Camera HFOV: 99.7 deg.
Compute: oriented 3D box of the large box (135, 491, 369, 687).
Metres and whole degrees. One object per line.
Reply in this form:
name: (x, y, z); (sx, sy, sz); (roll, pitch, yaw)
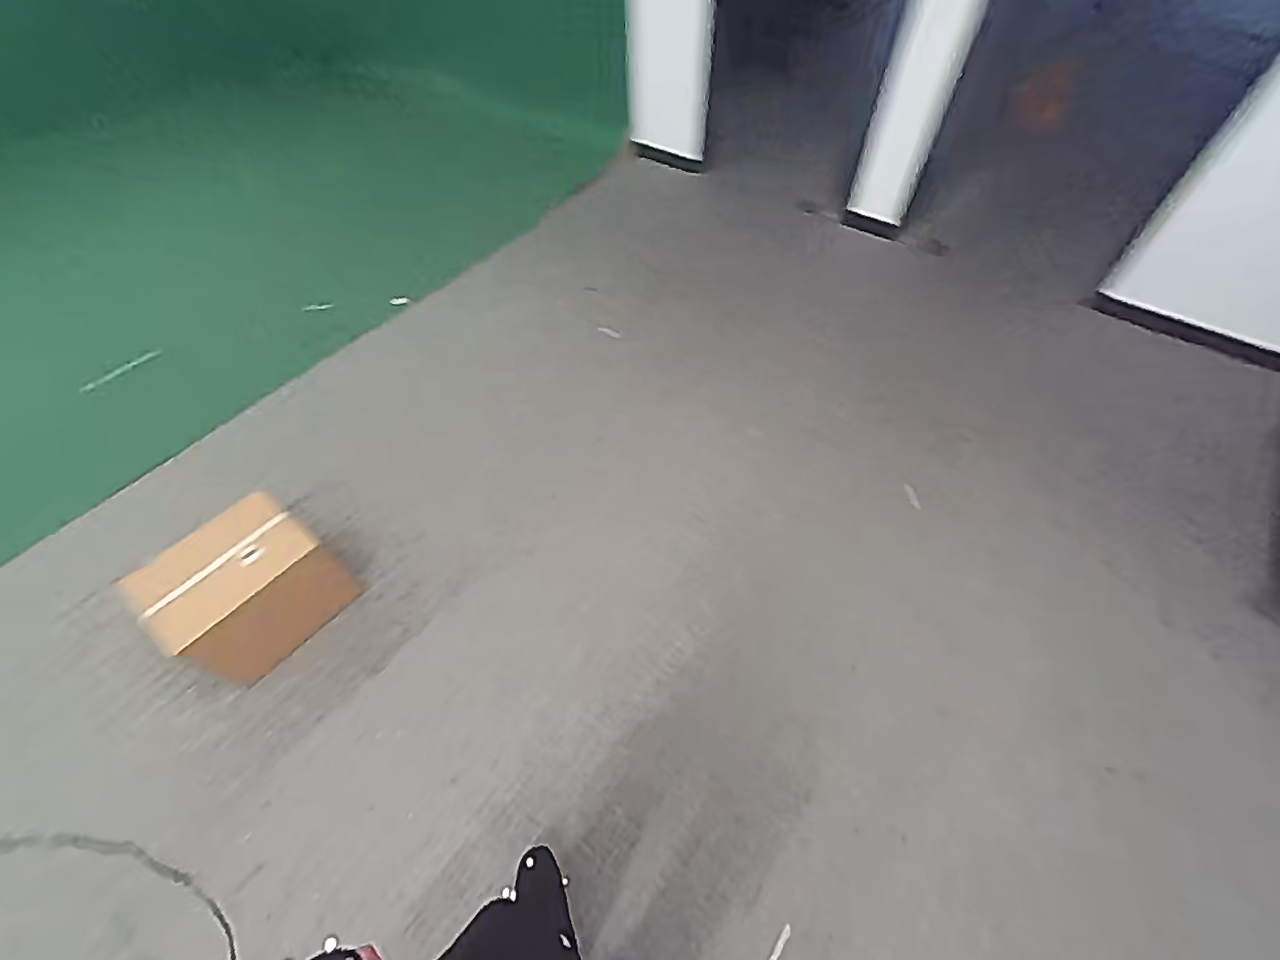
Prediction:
large box: (-1.113, 0.320, 1.595); (0.320, 0.320, 0.408); (33, 60, 22)
